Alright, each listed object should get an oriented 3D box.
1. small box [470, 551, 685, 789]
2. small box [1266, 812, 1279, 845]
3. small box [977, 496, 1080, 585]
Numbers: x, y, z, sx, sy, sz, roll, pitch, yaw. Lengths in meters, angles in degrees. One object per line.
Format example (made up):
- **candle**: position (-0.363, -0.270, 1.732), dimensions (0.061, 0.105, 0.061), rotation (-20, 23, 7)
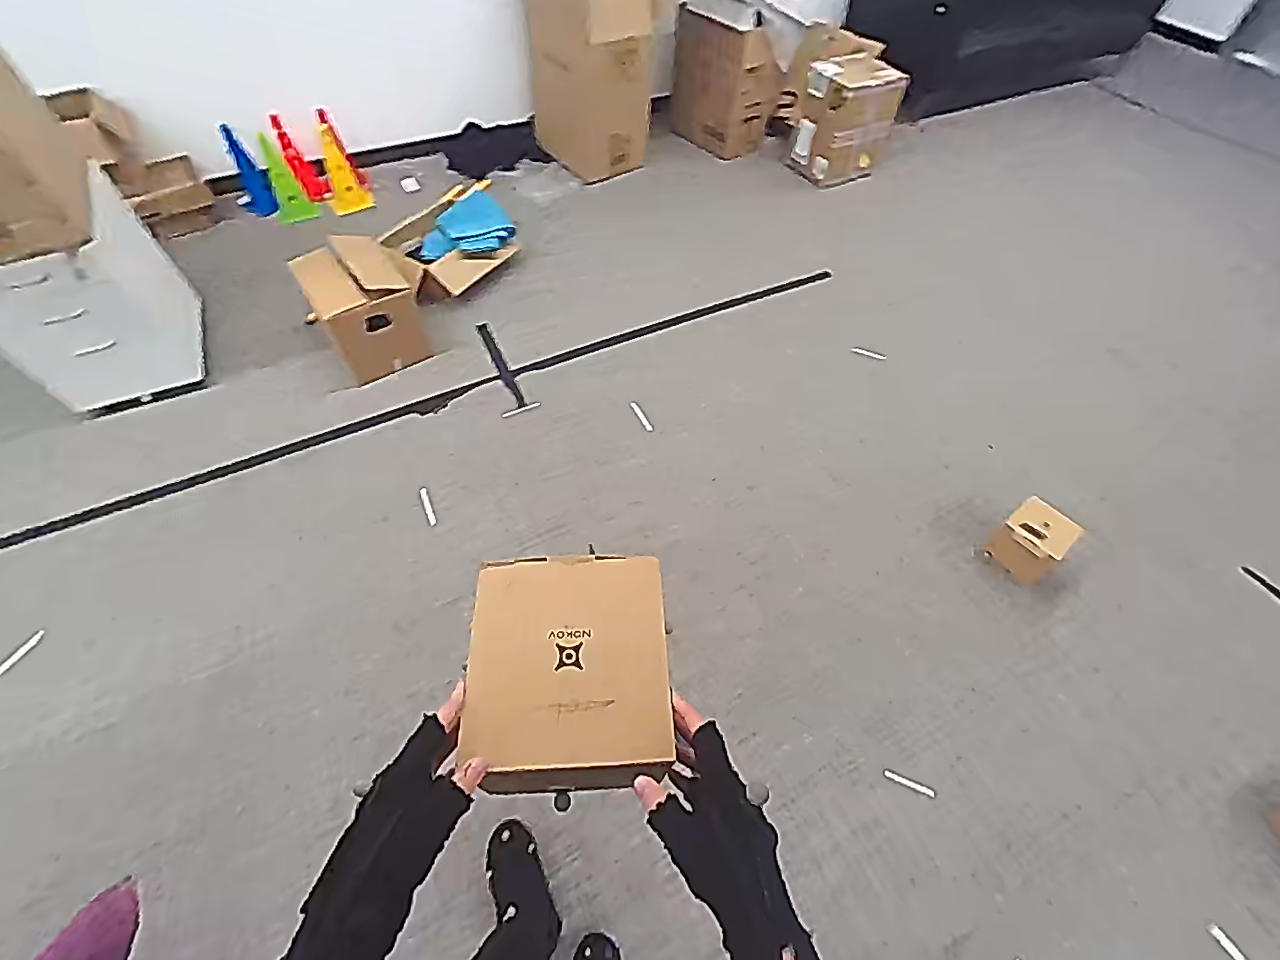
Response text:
- **small box**: position (-0.053, 0.184, 0.519), dimensions (0.168, 0.176, 0.179), rotation (-1, 55, -3)
- **small box**: position (1.604, 0.824, 1.210), dimensions (0.179, 0.176, 0.168), rotation (-9, 55, -9)
- **small box**: position (1.174, 0.188, 1.652), dimensions (0.179, 0.176, 0.168), rotation (-32, 61, -23)
